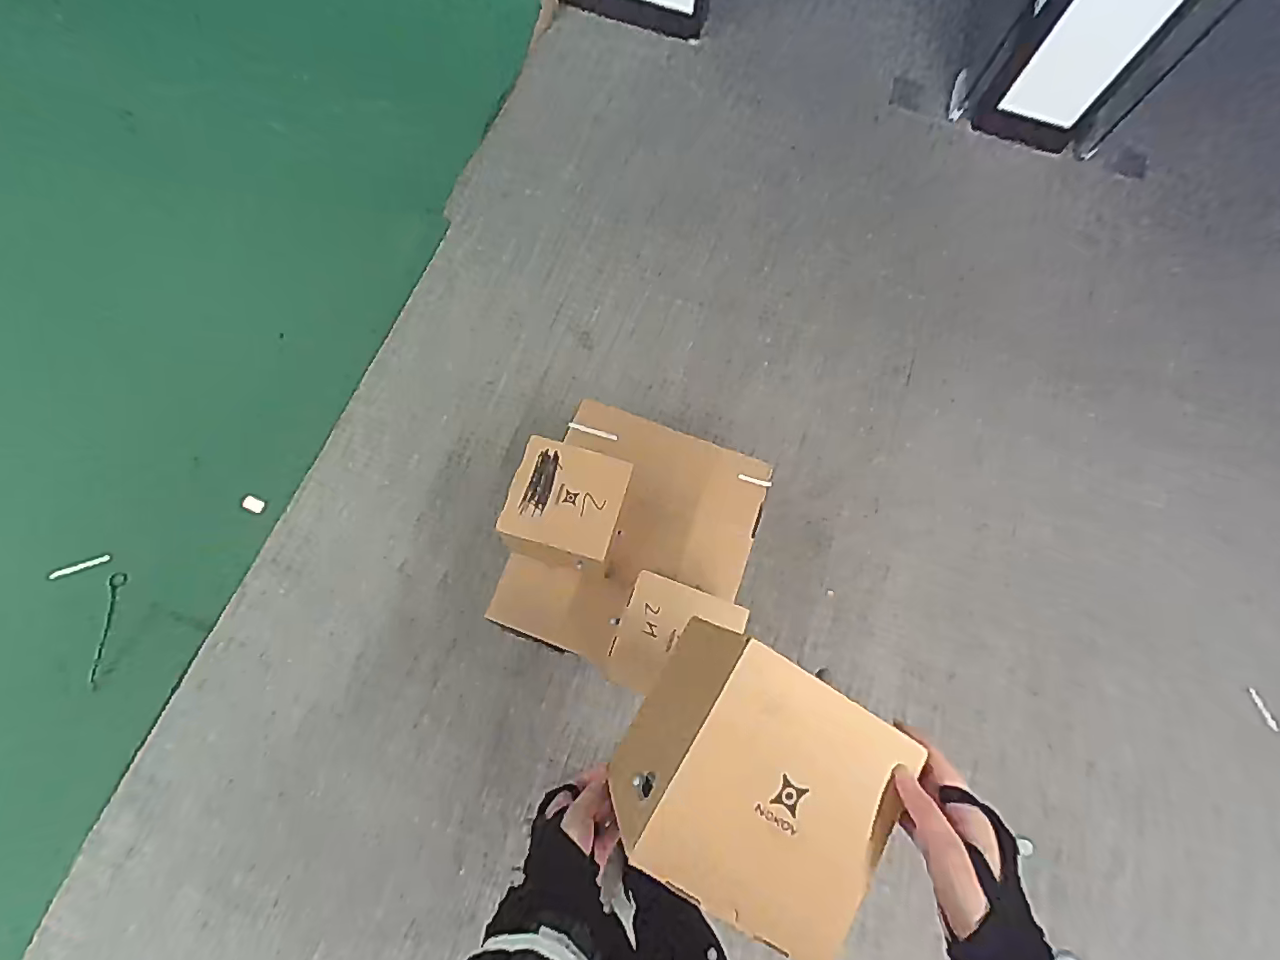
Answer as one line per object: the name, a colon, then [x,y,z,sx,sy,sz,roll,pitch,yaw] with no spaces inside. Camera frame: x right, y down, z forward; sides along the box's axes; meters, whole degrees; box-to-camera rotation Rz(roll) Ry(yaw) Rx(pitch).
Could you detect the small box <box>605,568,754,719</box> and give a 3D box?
small box: [0.055,0.253,0.853,0.179,0.176,0.168,20,73,3]
